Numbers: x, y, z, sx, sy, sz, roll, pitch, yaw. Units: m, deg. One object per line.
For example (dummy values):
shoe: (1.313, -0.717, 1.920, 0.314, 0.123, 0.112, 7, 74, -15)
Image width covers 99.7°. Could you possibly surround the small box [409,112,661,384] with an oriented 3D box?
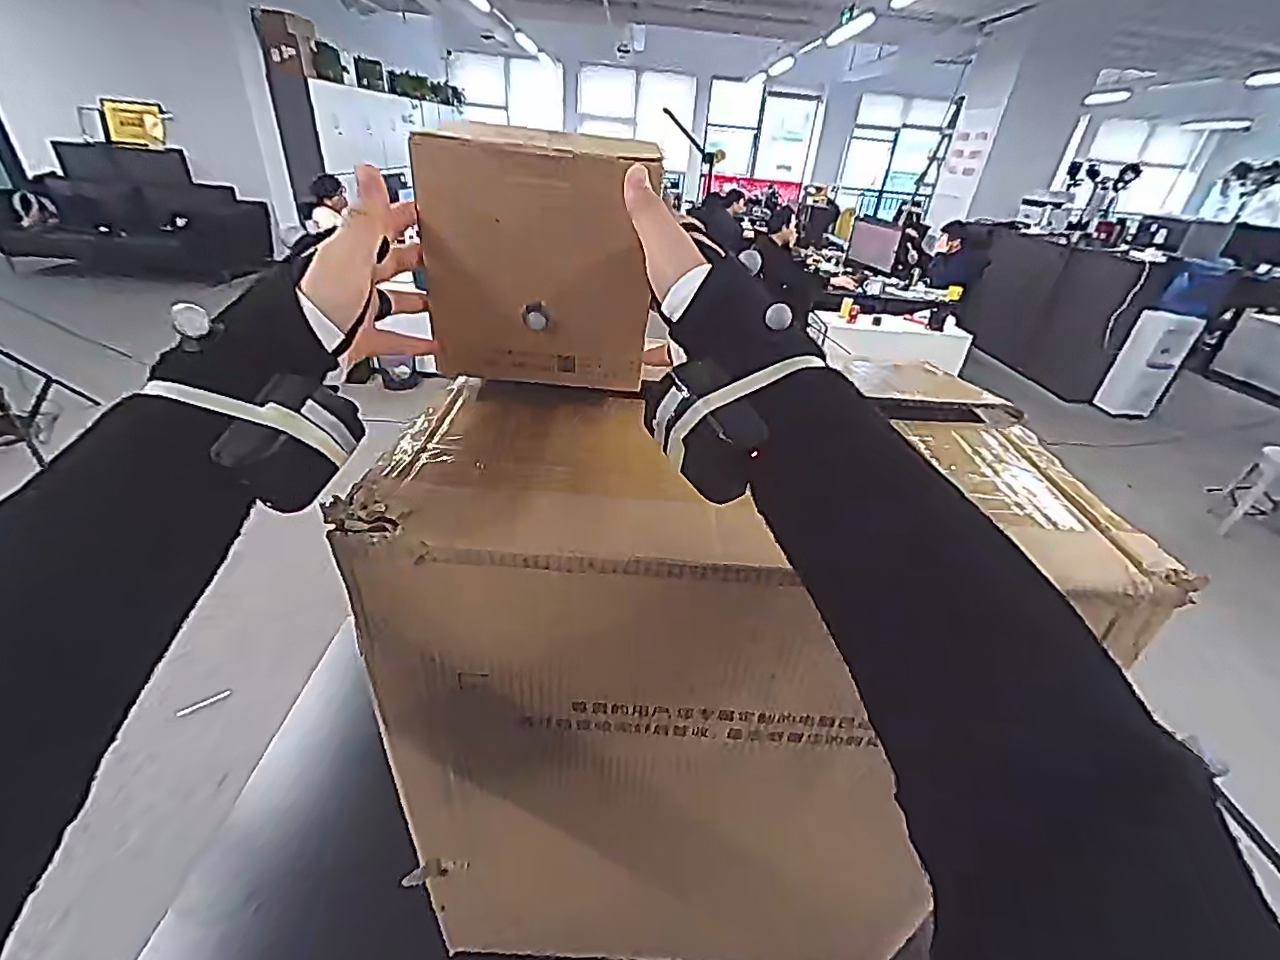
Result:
small box: (-0.076, -0.199, 0.459, 0.168, 0.176, 0.179, 4, 36, -4)
